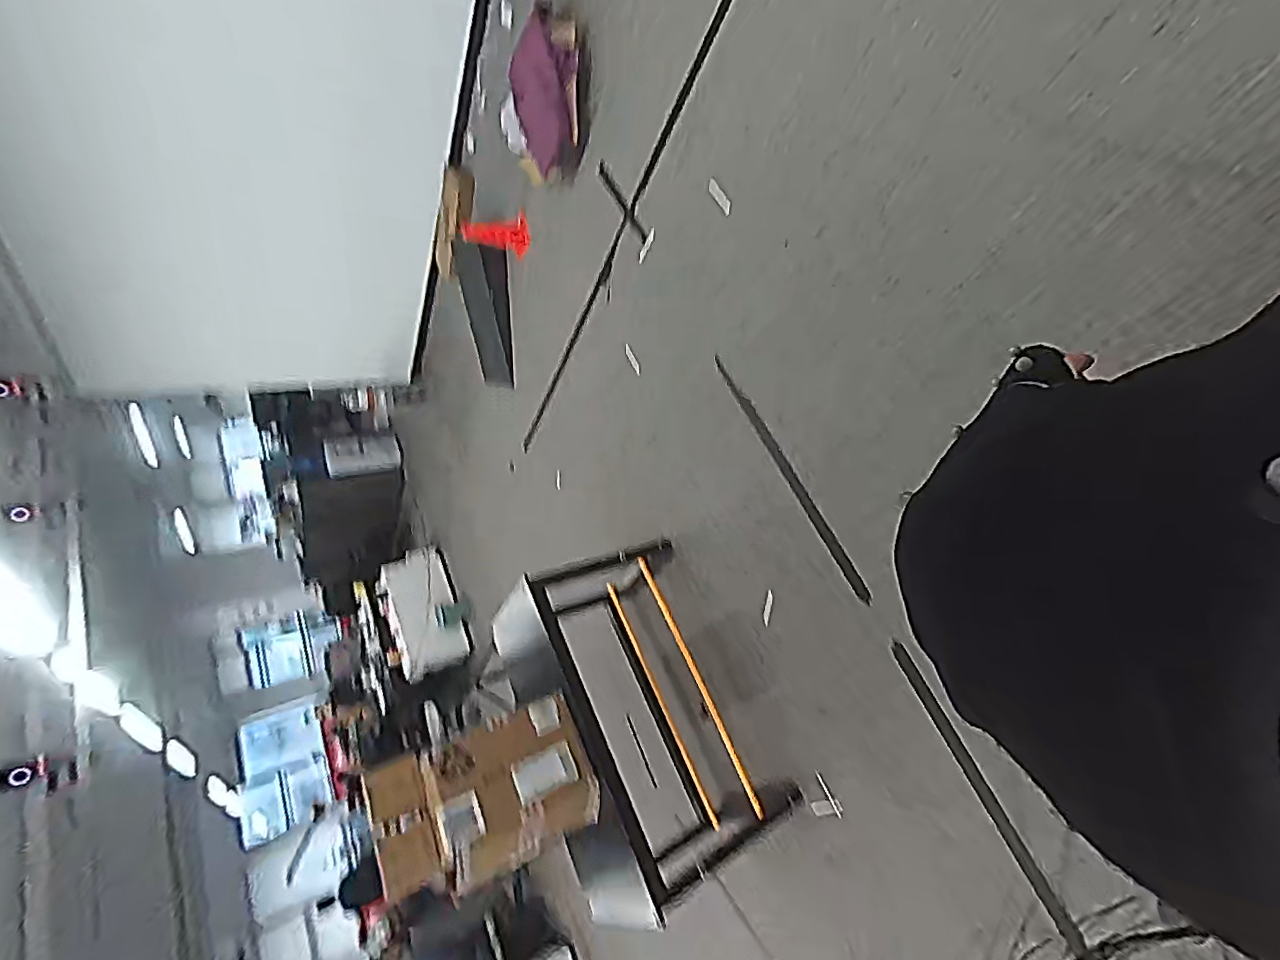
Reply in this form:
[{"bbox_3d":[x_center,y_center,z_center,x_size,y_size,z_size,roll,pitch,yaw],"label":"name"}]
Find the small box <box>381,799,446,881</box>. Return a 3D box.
[{"bbox_3d":[-0.754,1.196,1.799,0.168,0.176,0.179,59,142,27],"label":"small box"}]
